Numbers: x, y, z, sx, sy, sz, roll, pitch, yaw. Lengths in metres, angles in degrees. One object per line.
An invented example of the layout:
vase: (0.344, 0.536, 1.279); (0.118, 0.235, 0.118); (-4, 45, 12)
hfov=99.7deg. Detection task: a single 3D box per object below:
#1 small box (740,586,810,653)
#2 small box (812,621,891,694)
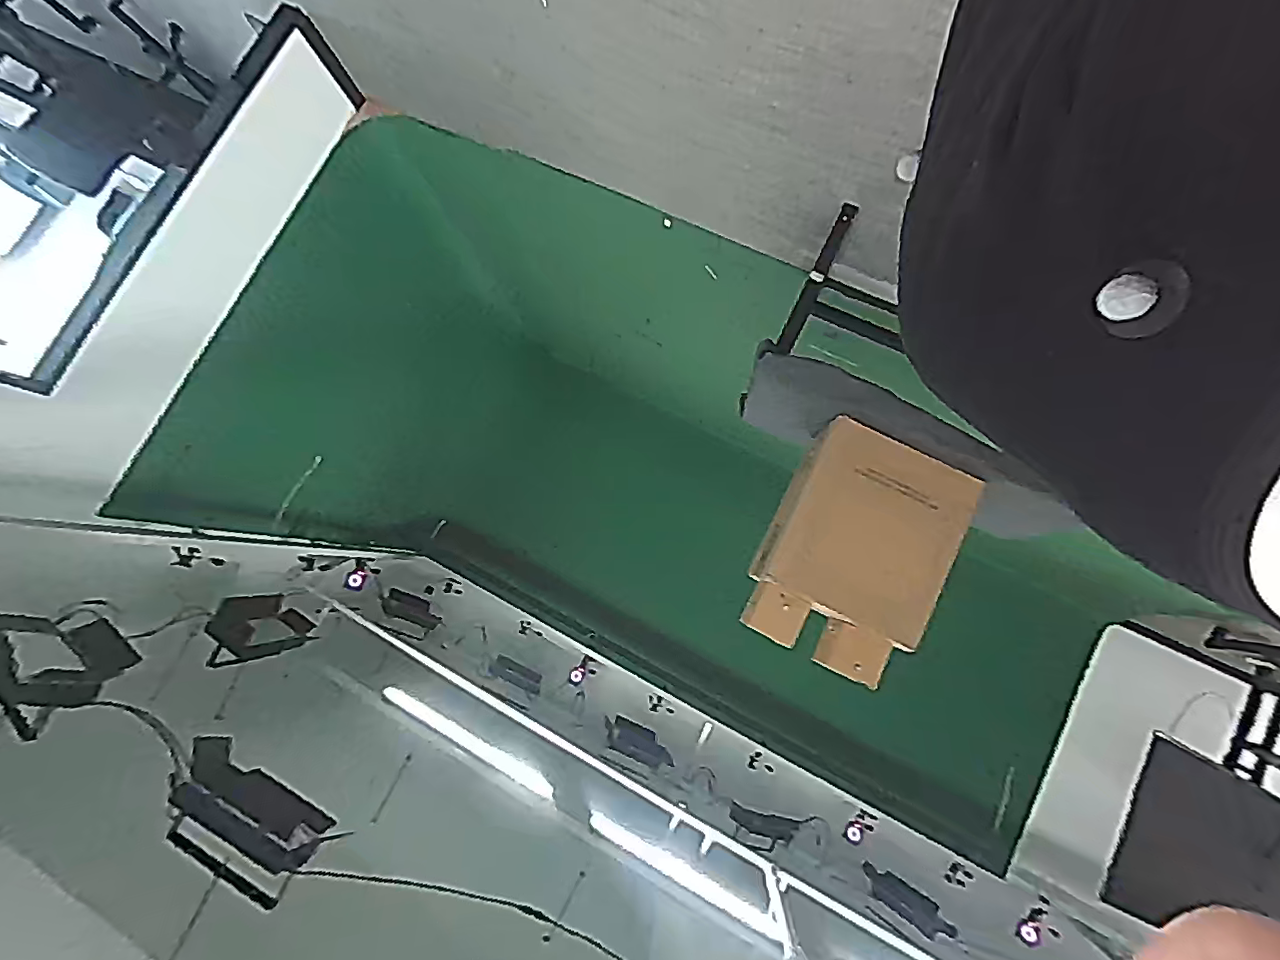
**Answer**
small box: (0.479, 0.488, 1.922); (0.168, 0.176, 0.179); (28, 170, 5)
small box: (0.736, 0.611, 1.881); (0.179, 0.176, 0.168); (28, 170, 5)
